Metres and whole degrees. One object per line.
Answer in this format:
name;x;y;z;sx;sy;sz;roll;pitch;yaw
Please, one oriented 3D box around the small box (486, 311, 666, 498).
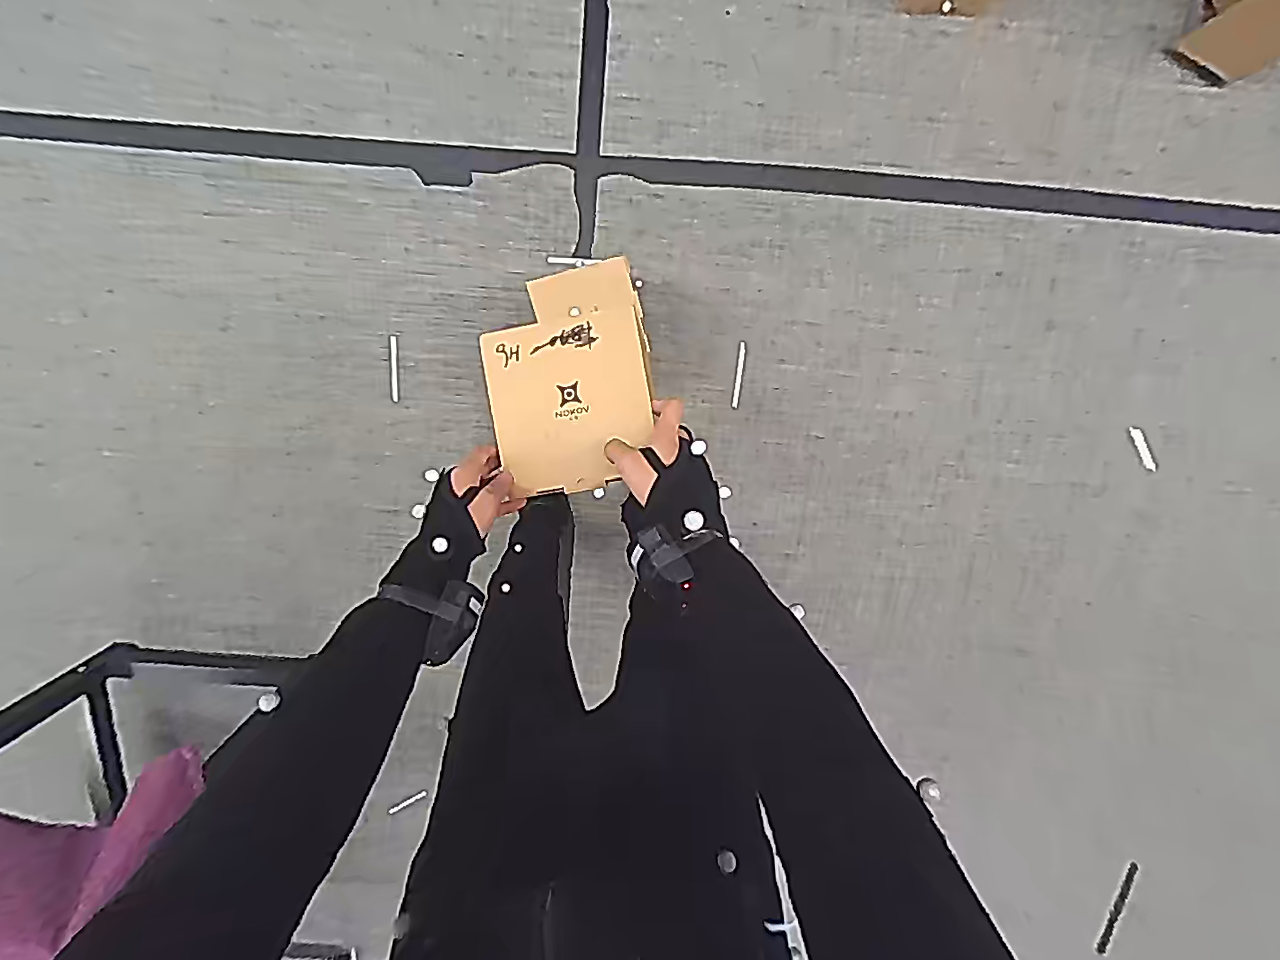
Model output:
small box;-0.064;-0.081;0.644;0.168;0.176;0.179;-9;91;4
